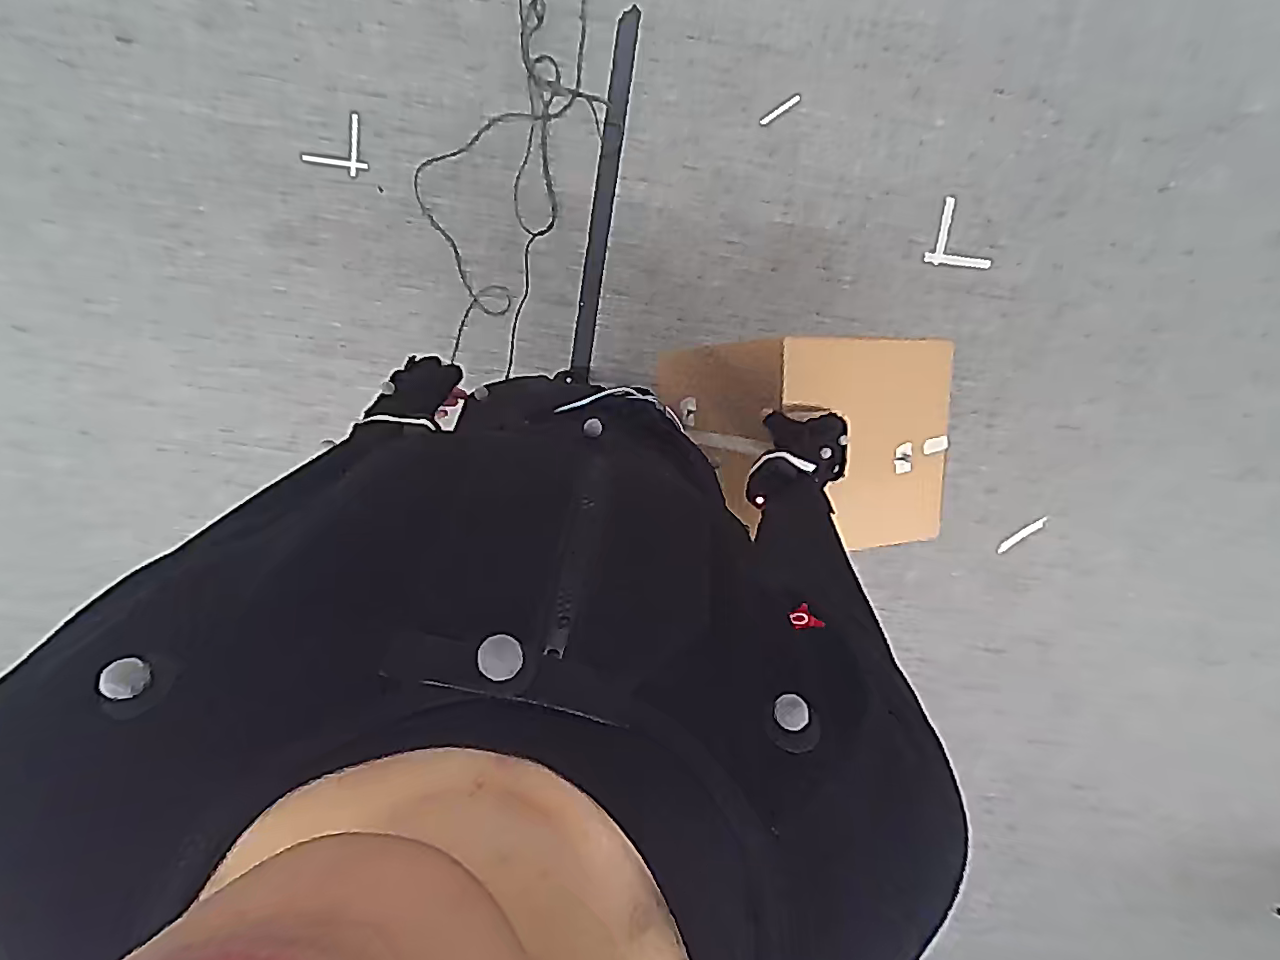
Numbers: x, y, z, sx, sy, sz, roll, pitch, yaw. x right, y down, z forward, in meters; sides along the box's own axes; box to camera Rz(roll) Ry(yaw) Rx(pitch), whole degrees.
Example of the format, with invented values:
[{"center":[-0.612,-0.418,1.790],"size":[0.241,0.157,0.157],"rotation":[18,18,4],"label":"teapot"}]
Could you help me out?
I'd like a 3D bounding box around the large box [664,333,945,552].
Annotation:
[{"center":[0.266,-0.079,0.980],"size":[0.320,0.408,0.320],"rotation":[-2,99,-20],"label":"large box"}]
